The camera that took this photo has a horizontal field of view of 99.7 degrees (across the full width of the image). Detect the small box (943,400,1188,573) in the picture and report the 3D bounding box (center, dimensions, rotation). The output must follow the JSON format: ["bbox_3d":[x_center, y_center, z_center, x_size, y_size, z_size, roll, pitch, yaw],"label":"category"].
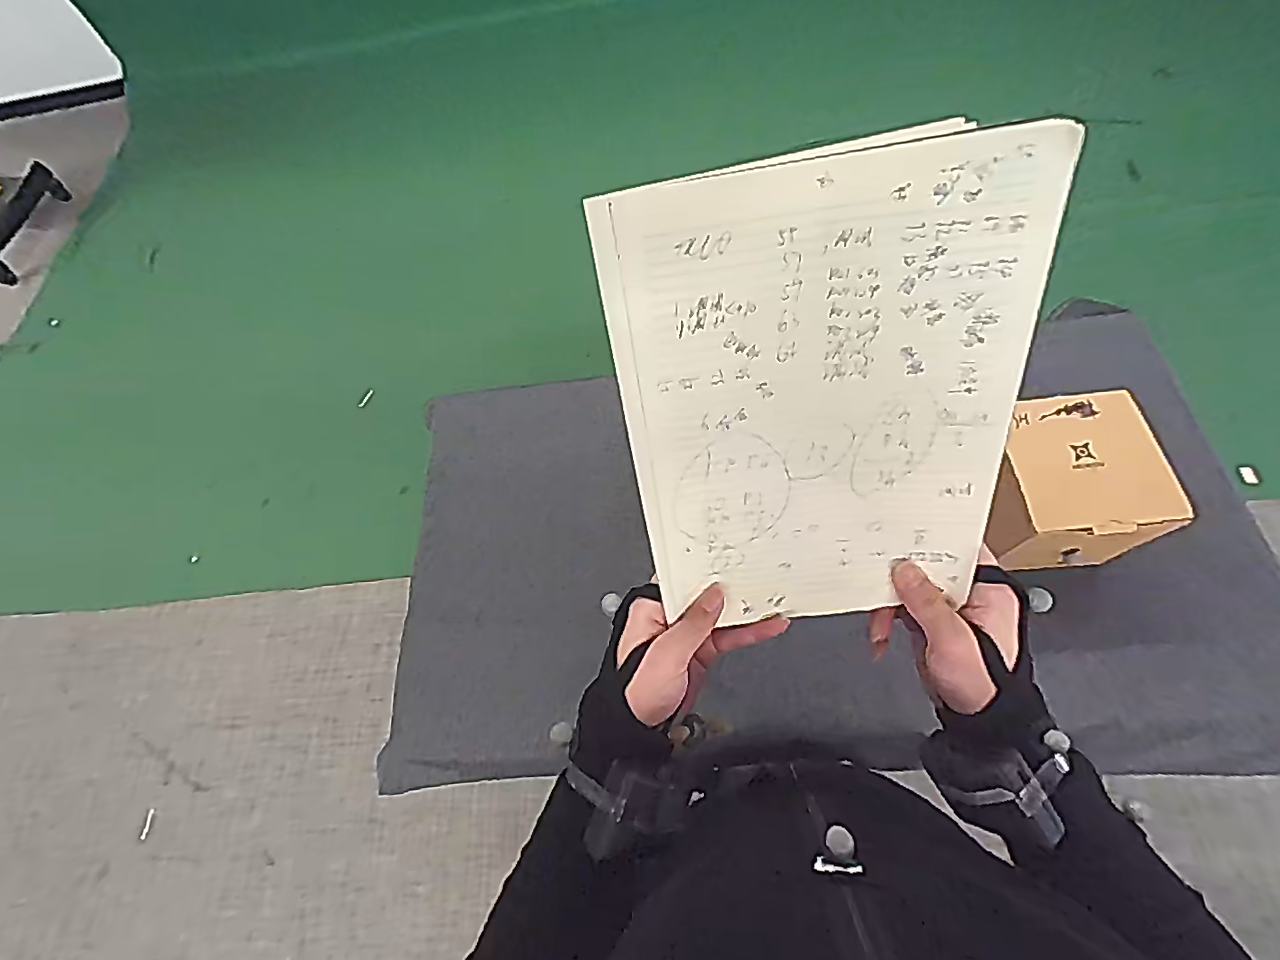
[{"bbox_3d":[0.533,0.019,0.711,0.168,0.176,0.179,-5,65,5],"label":"small box"}]

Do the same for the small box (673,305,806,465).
[{"bbox_3d":[0.144,-0.133,0.824,0.168,0.176,0.179,-6,63,4],"label":"small box"}]
